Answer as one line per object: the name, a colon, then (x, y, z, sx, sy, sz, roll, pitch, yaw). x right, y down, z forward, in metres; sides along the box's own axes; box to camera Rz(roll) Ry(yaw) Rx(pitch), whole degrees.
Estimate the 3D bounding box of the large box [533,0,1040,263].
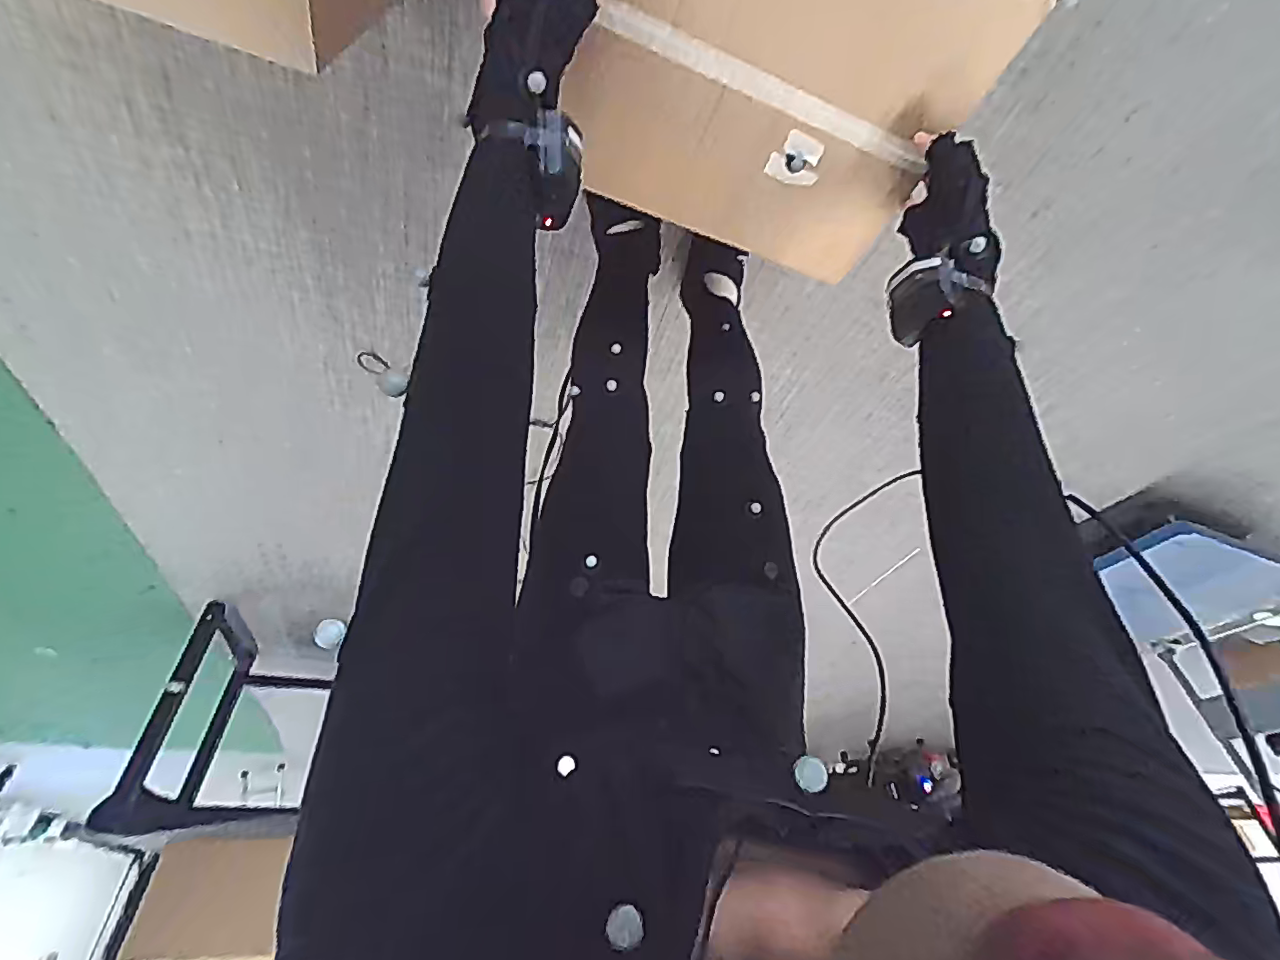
large box: (0.119, -0.513, 0.594, 0.408, 0.320, 0.320, 12, 143, -18)
